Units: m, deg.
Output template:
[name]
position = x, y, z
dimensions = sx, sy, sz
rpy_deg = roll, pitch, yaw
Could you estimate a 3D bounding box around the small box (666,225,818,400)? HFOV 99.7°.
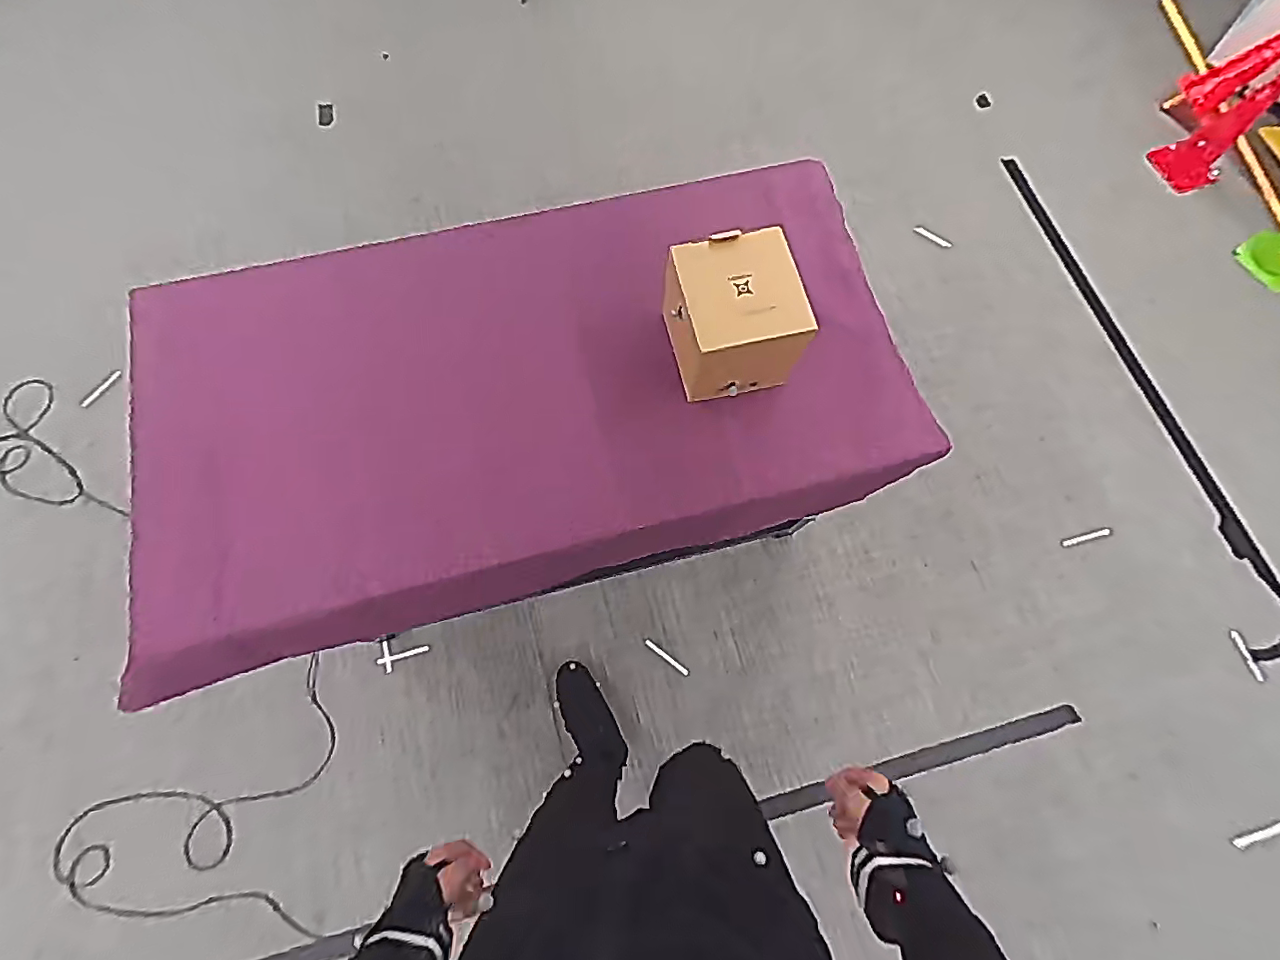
[small box]
position = 0.139, -0.243, 0.810
dimensions = 0.168, 0.176, 0.179
rpy_deg = -11, 74, -4
